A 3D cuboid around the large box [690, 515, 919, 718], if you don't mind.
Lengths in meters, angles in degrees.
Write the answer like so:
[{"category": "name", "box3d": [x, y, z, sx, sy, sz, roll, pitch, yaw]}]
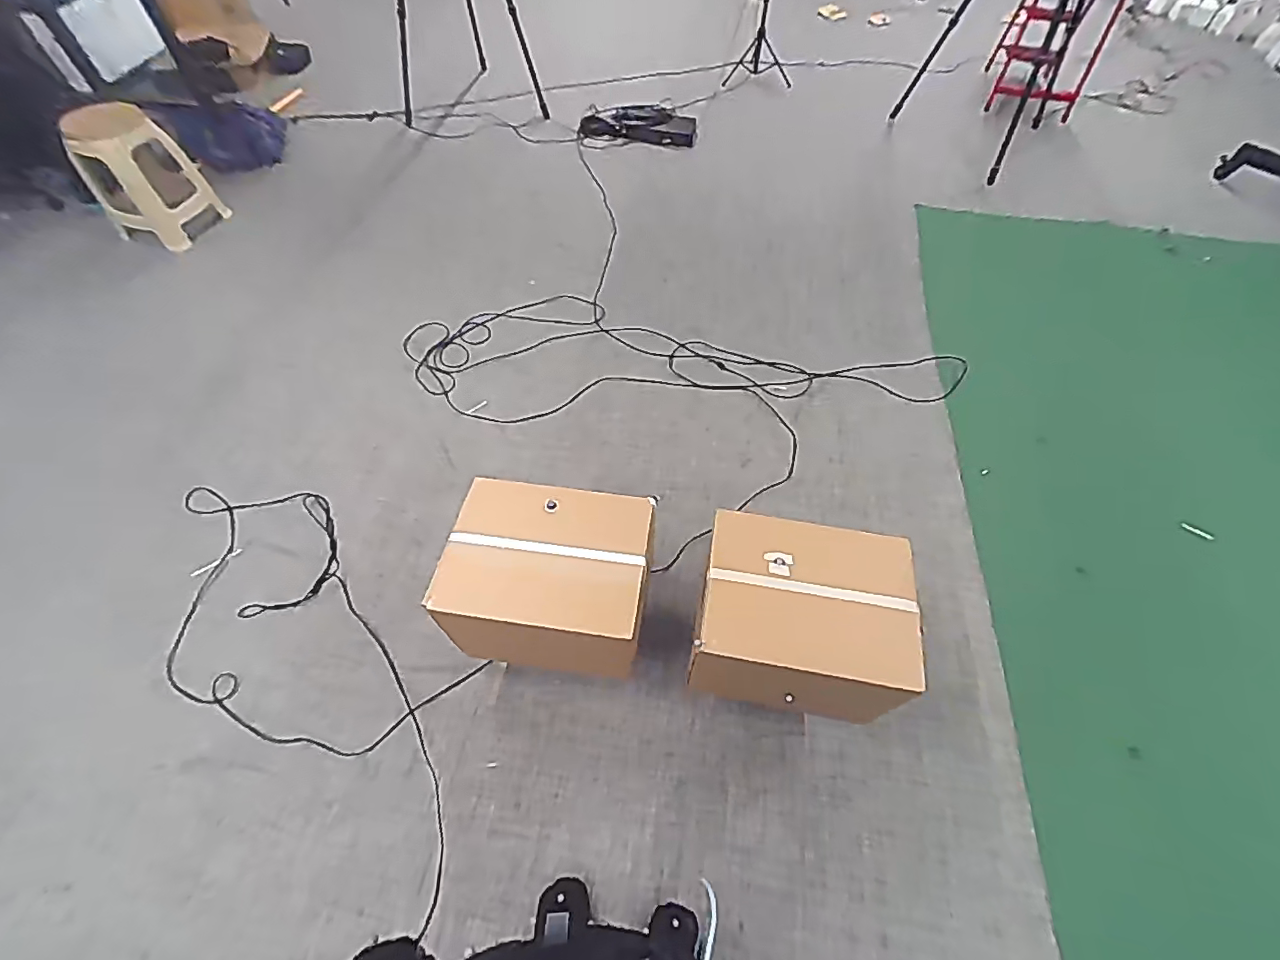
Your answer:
[{"category": "large box", "box3d": [0.338, 0.309, 1.195, 0.408, 0.320, 0.320, 9, 56, 6]}]
